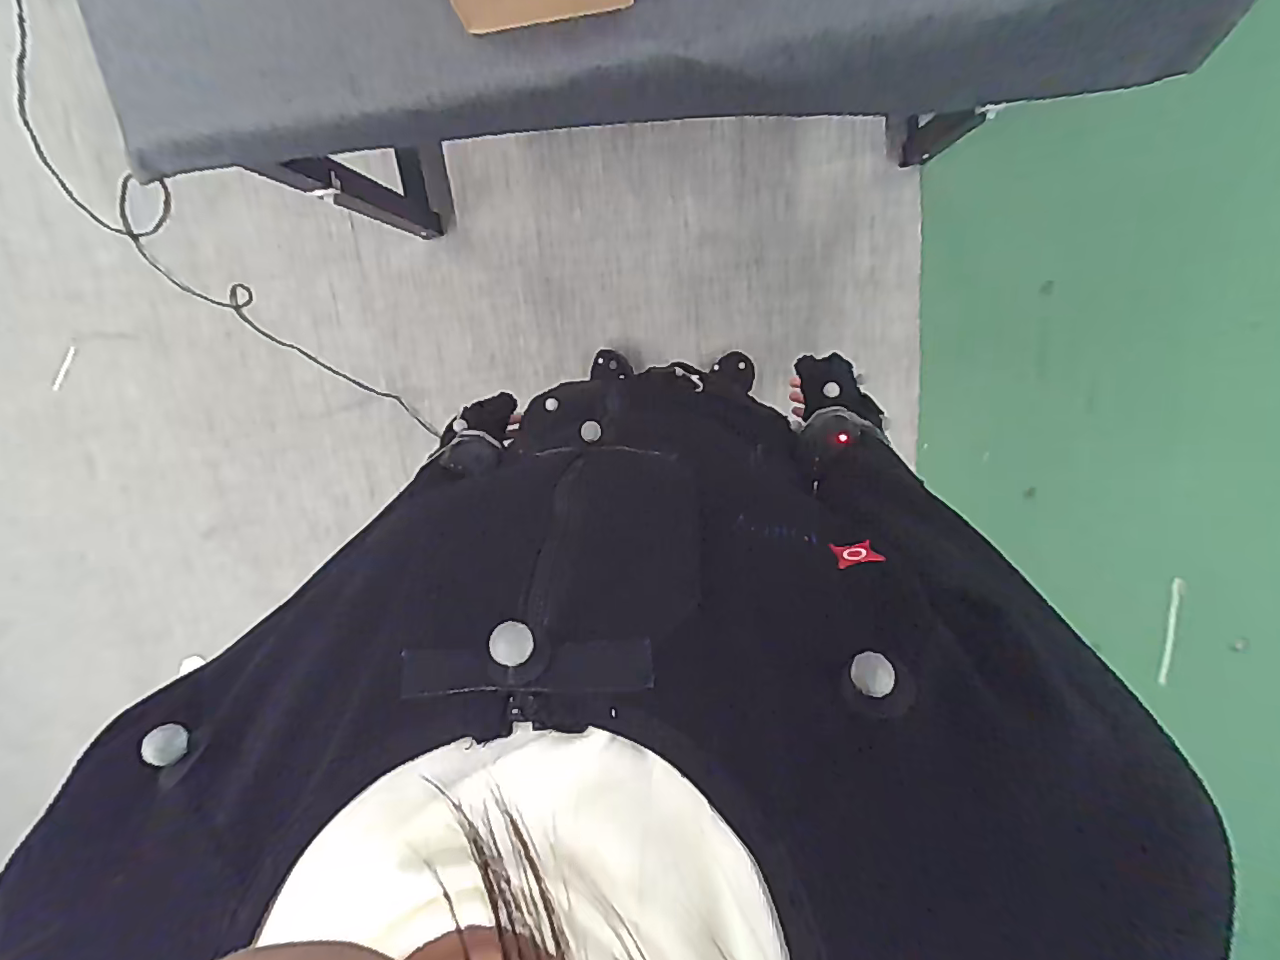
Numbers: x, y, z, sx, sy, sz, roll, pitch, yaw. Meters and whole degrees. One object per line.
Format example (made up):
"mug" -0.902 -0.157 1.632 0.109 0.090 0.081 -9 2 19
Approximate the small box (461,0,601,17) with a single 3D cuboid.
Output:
"small box" -0.107 -0.544 0.463 0.179 0.176 0.168 -6 104 5
